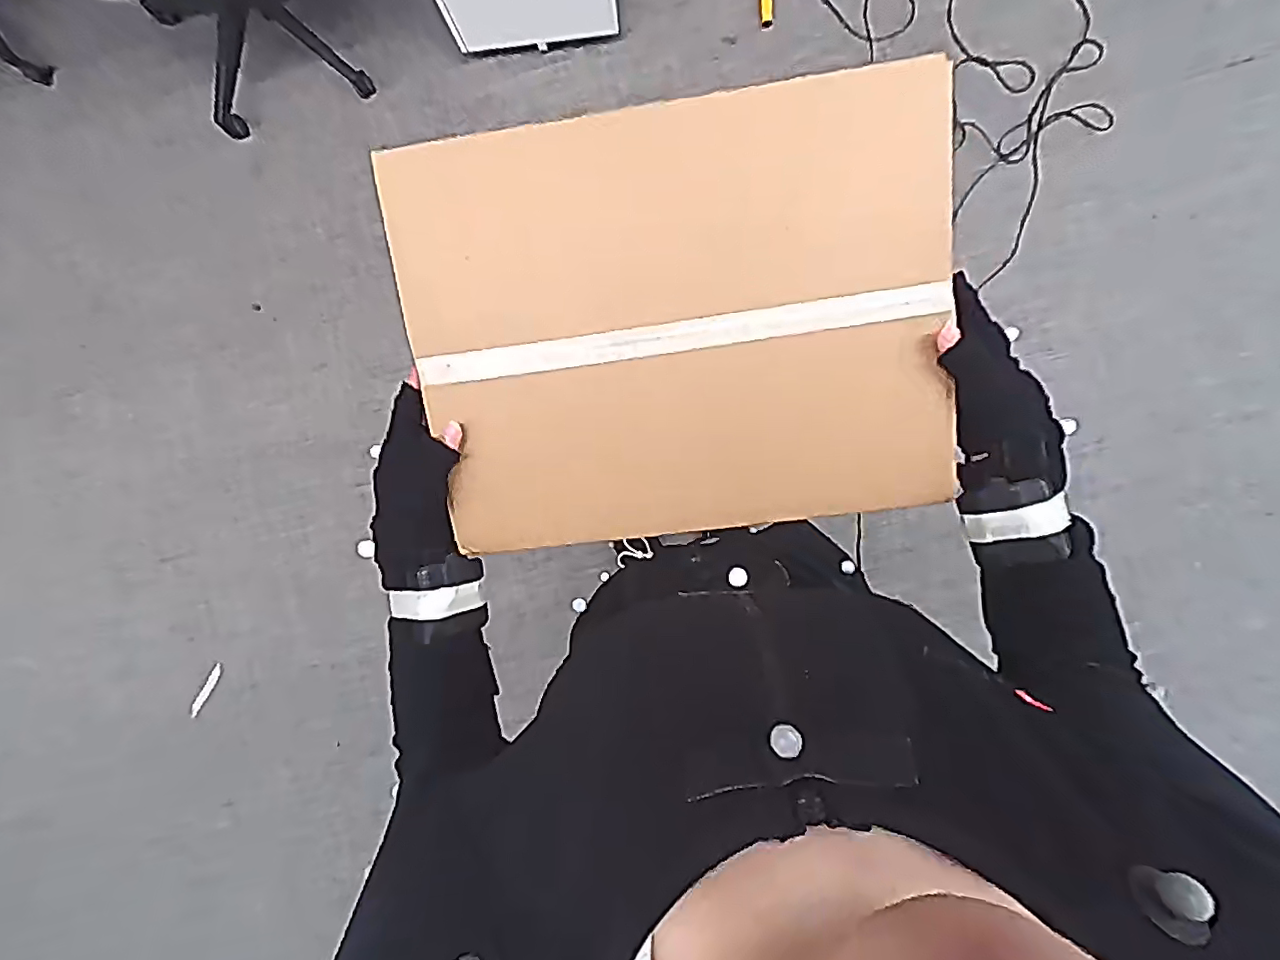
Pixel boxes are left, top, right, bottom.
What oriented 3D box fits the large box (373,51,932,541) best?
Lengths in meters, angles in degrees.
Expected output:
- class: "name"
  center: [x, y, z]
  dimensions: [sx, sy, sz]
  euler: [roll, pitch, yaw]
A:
- class: "large box"
  center: [0.026, -0.156, 0.559]
  dimensions: [0.408, 0.320, 0.320]
  euler: [-7, 103, 4]
